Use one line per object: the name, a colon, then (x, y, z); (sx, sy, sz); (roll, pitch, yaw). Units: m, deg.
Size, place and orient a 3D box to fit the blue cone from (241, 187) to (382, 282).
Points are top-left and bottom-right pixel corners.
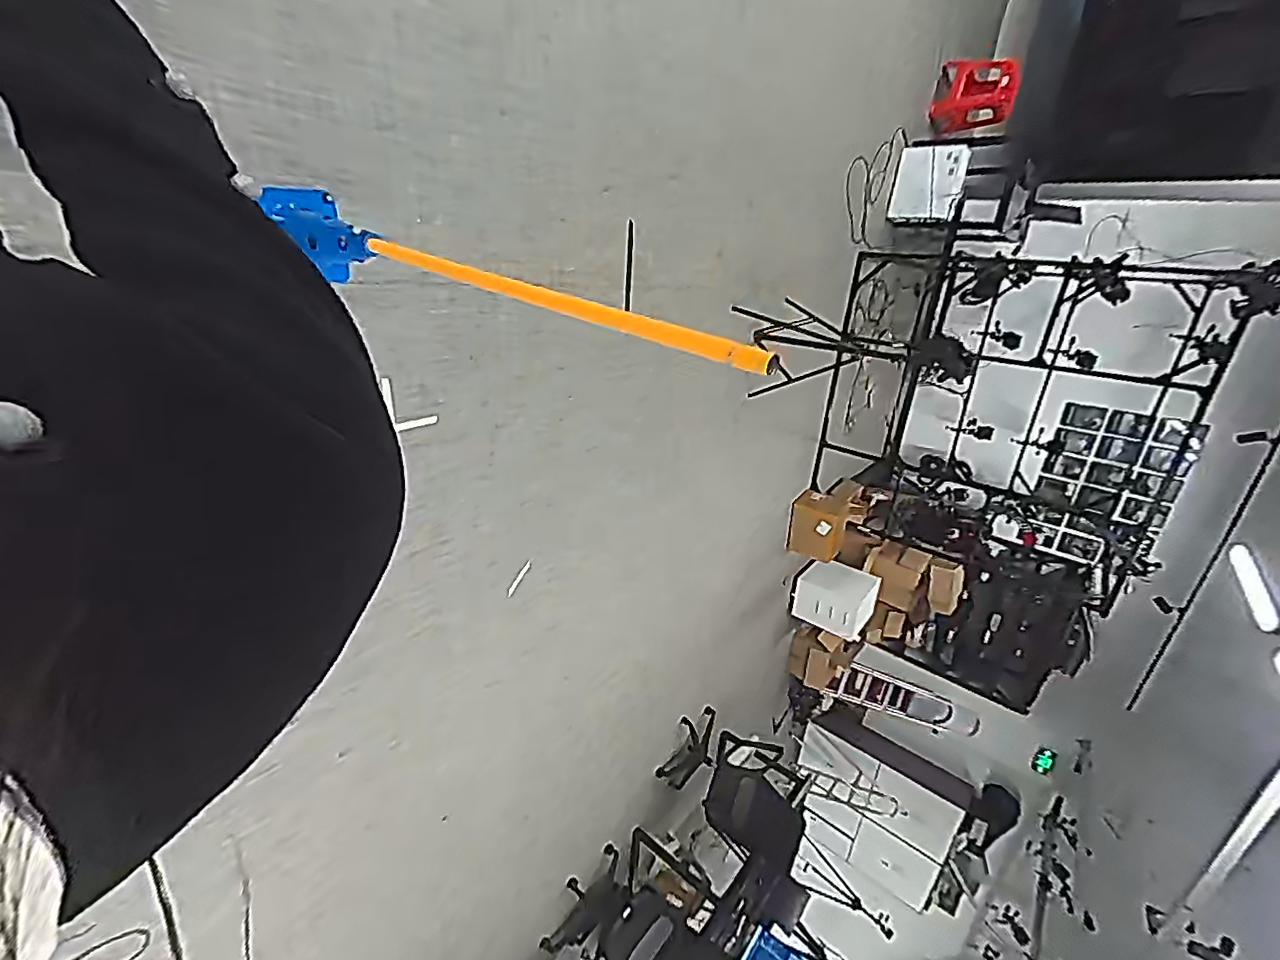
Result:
blue cone: (-0.643, -0.504, 1.123); (0.193, 0.380, 0.192); (-26, 126, -45)
